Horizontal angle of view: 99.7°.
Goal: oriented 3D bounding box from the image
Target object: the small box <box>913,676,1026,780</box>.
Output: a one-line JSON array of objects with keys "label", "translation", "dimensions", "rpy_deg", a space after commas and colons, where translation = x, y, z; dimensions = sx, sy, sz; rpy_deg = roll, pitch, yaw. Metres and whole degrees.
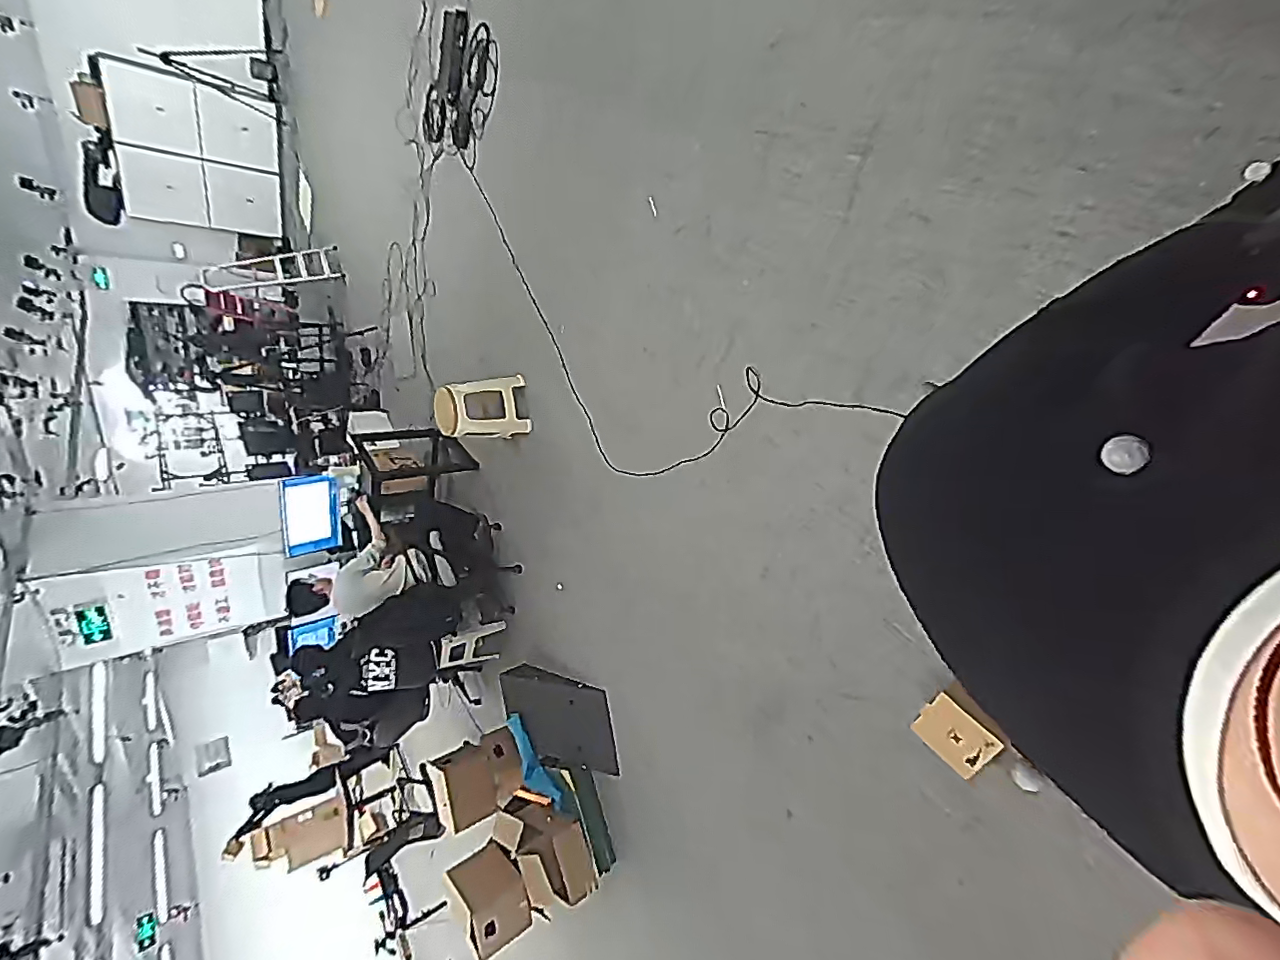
[{"label": "small box", "translation": [0.895, 0.662, 1.471], "dimensions": [0.179, 0.176, 0.168], "rpy_deg": [44, 130, 36]}]
